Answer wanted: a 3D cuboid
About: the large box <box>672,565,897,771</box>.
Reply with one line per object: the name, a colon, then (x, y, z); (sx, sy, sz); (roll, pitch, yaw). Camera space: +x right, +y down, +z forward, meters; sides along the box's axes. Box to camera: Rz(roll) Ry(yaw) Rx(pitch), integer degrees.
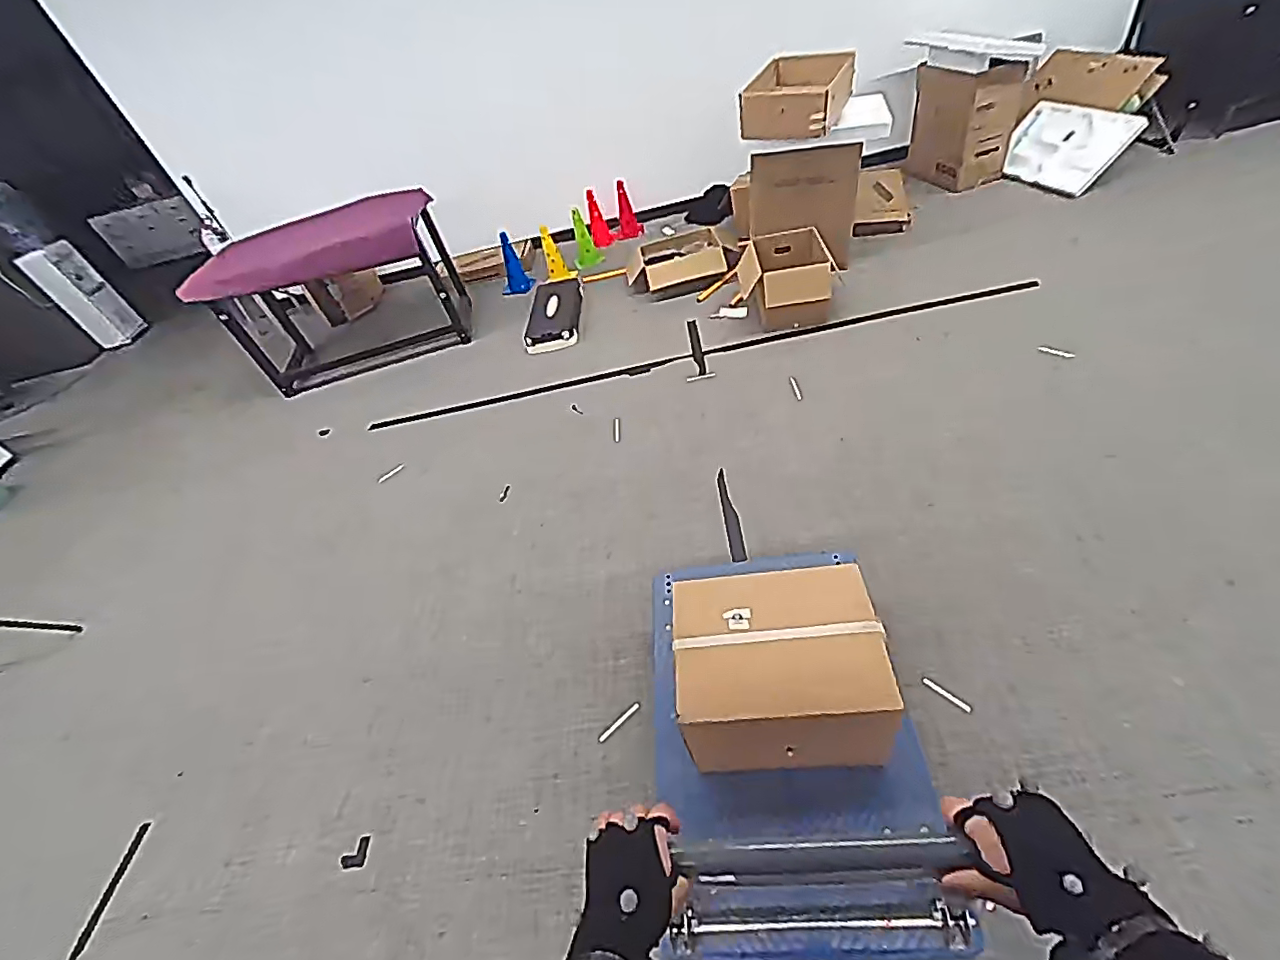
large box: (0.301, 0.425, 1.199); (0.408, 0.320, 0.320); (-9, 44, 10)
